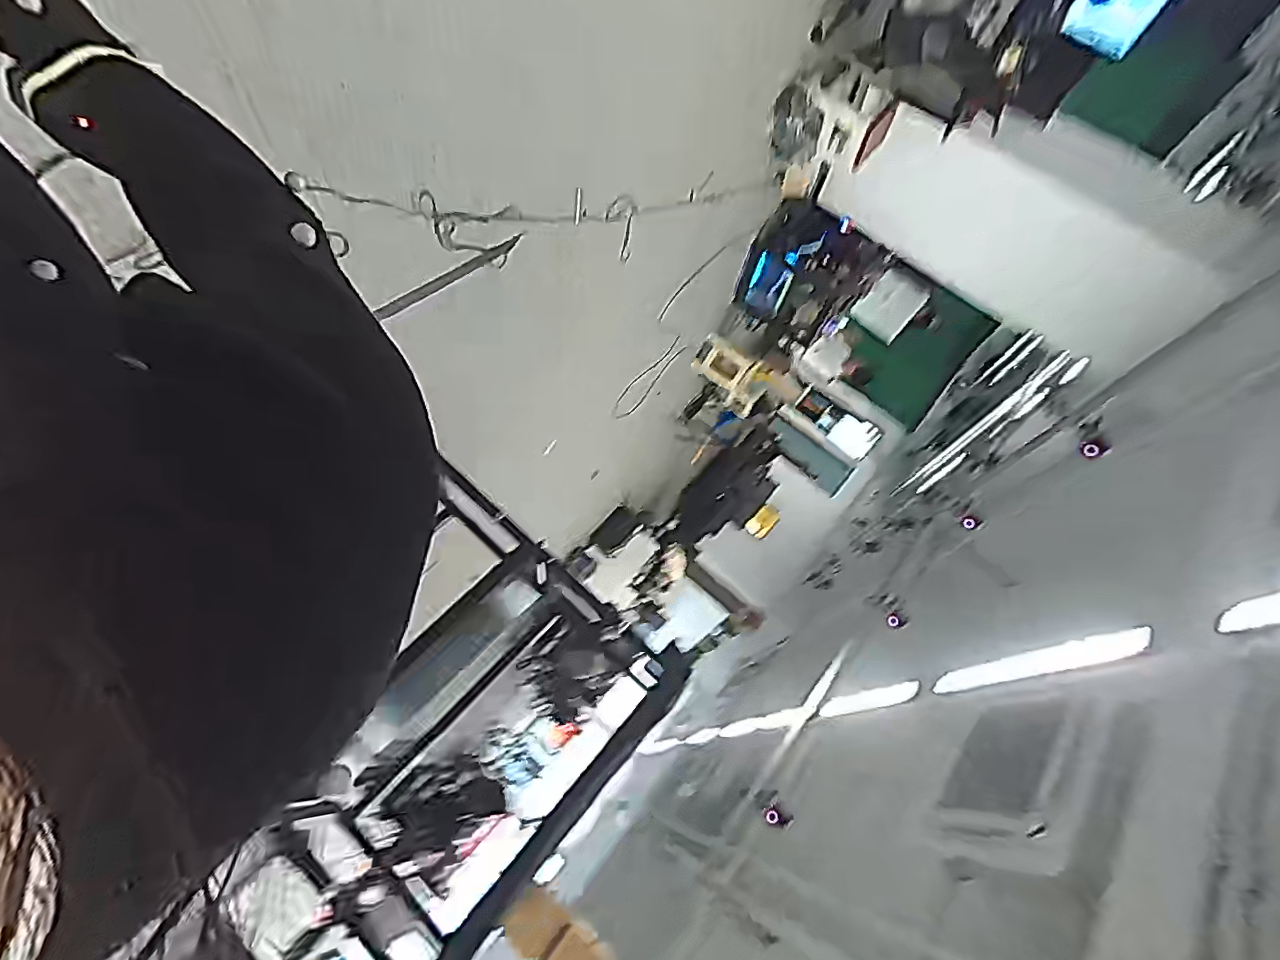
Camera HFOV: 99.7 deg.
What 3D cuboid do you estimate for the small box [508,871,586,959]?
[{"bbox_3d":[-0.287,1.338,1.650,0.168,0.176,0.179,-44,167,-30],"label":"small box"}]

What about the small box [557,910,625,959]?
[{"bbox_3d":[-0.160,1.423,1.588,0.168,0.176,0.179,-44,167,-24],"label":"small box"}]
